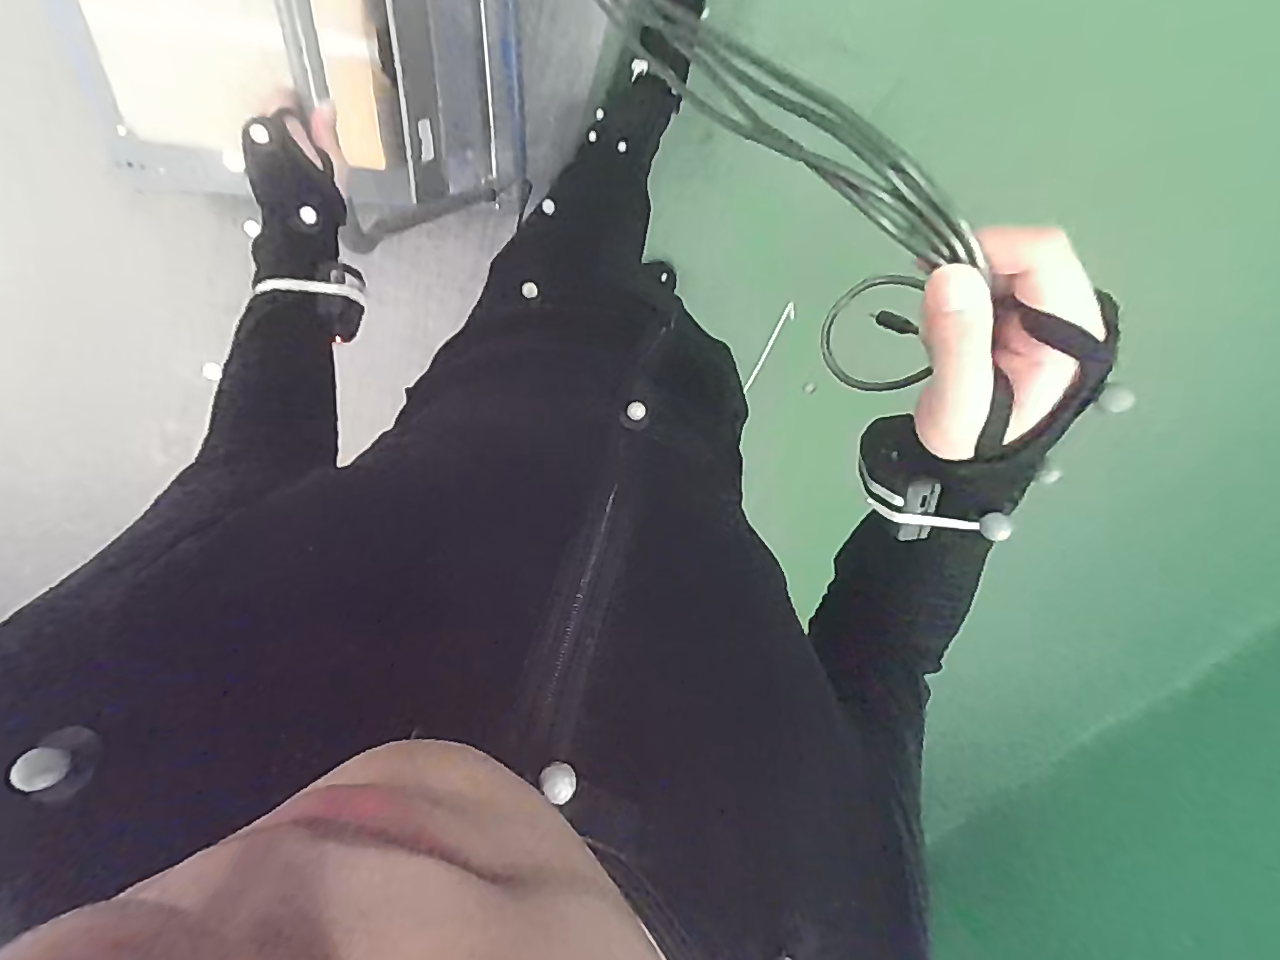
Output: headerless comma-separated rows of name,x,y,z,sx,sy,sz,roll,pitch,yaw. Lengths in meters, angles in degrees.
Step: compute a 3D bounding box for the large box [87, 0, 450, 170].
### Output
large box,-0.575,-0.728,0.899,0.408,0.320,0.320,6,124,-2
